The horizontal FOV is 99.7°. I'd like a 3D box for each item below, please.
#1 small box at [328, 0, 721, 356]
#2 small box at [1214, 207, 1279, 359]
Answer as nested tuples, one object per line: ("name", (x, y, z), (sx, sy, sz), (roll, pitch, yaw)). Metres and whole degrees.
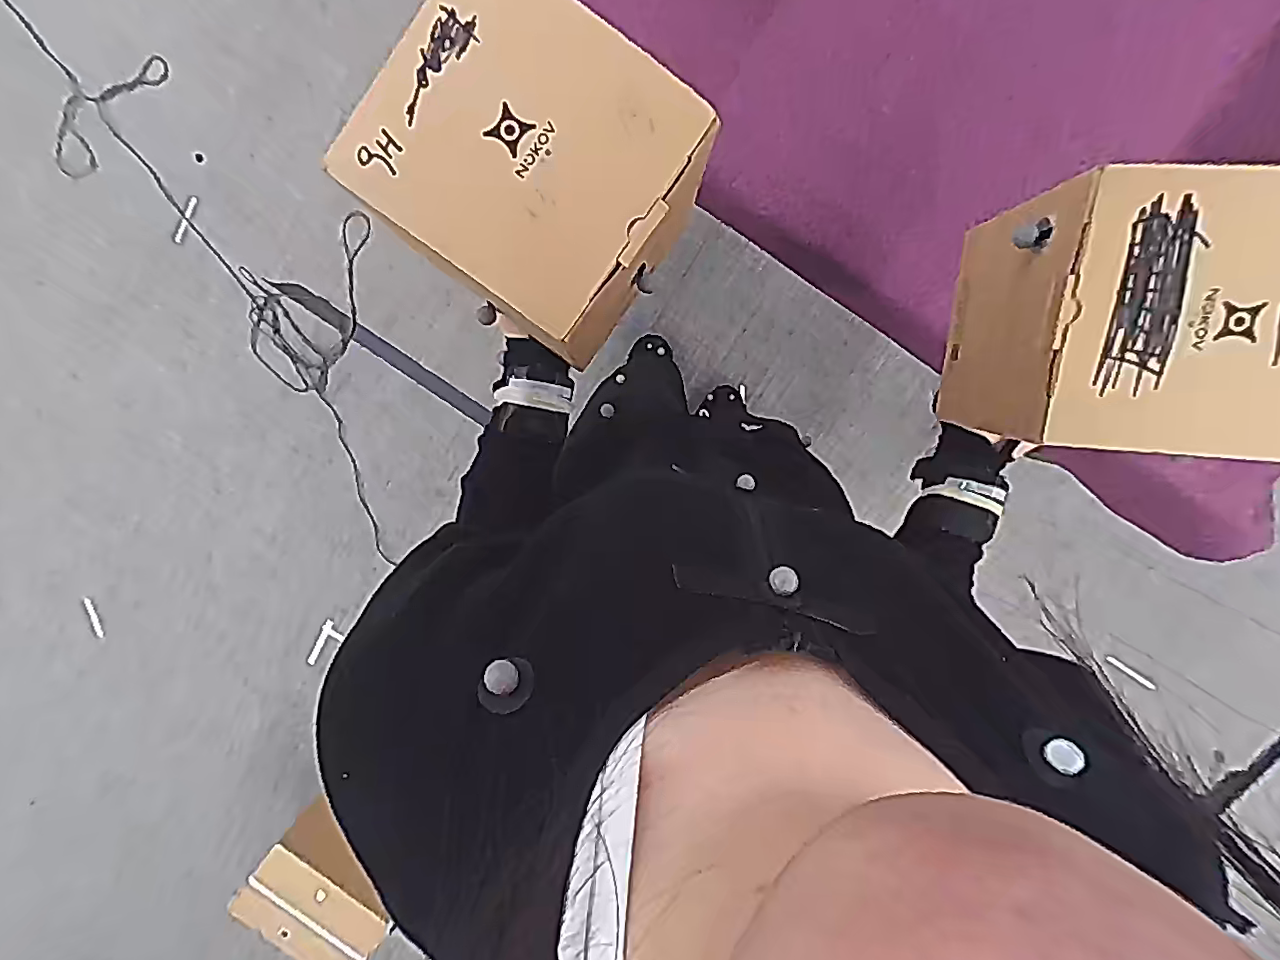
("small box", (-0.070, -0.207, 0.397), (0.179, 0.176, 0.168), (35, 93, -6))
("small box", (0.780, -0.229, 0.563), (0.168, 0.176, 0.179), (38, 101, -1))
